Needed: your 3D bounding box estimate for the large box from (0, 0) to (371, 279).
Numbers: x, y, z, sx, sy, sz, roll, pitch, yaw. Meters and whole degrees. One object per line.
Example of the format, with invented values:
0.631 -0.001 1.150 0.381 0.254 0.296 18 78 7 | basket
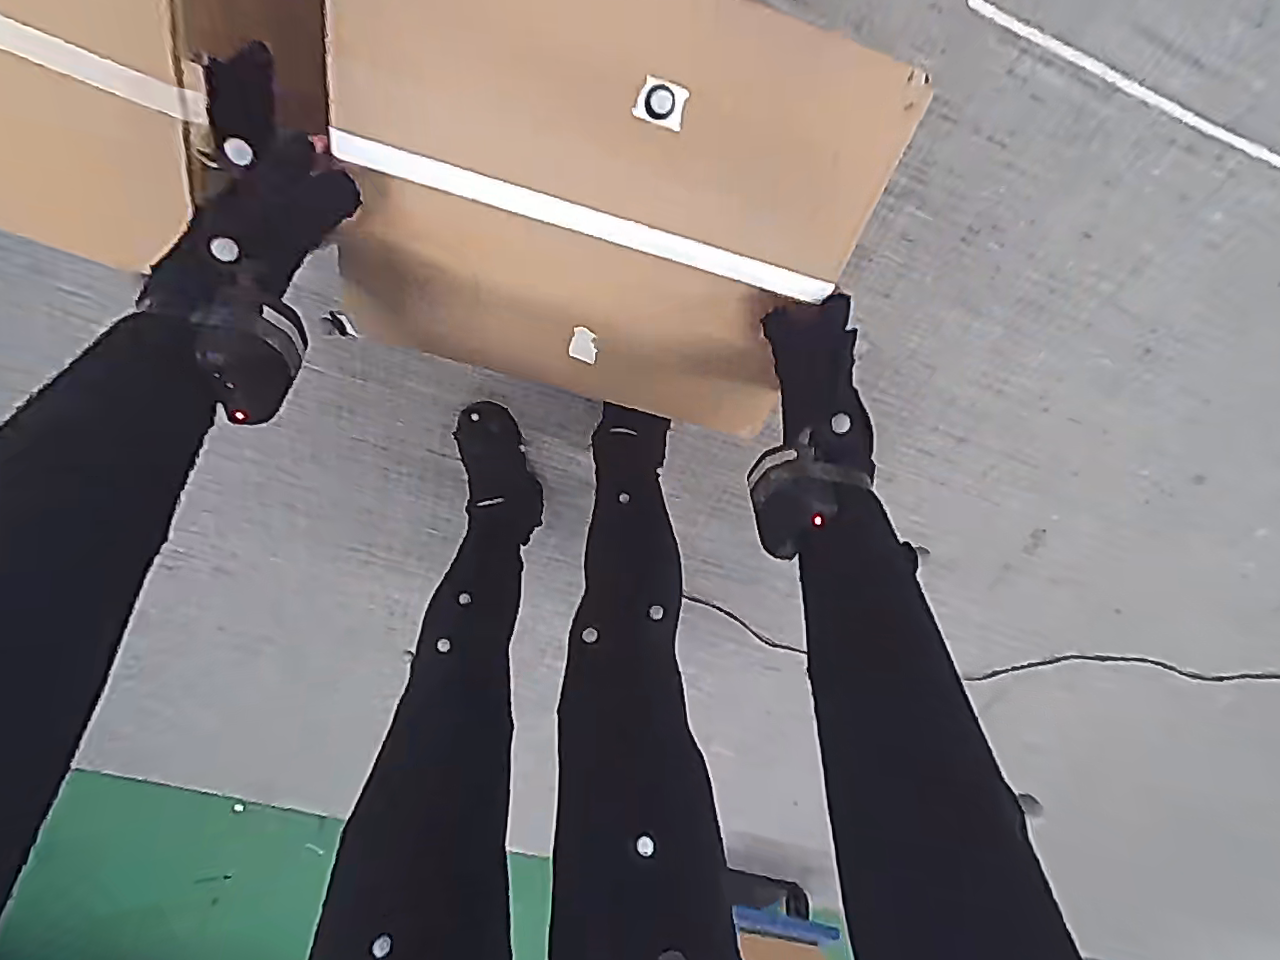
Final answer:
-0.510 -0.438 0.482 0.408 0.320 0.320 19 125 -9 | large box
